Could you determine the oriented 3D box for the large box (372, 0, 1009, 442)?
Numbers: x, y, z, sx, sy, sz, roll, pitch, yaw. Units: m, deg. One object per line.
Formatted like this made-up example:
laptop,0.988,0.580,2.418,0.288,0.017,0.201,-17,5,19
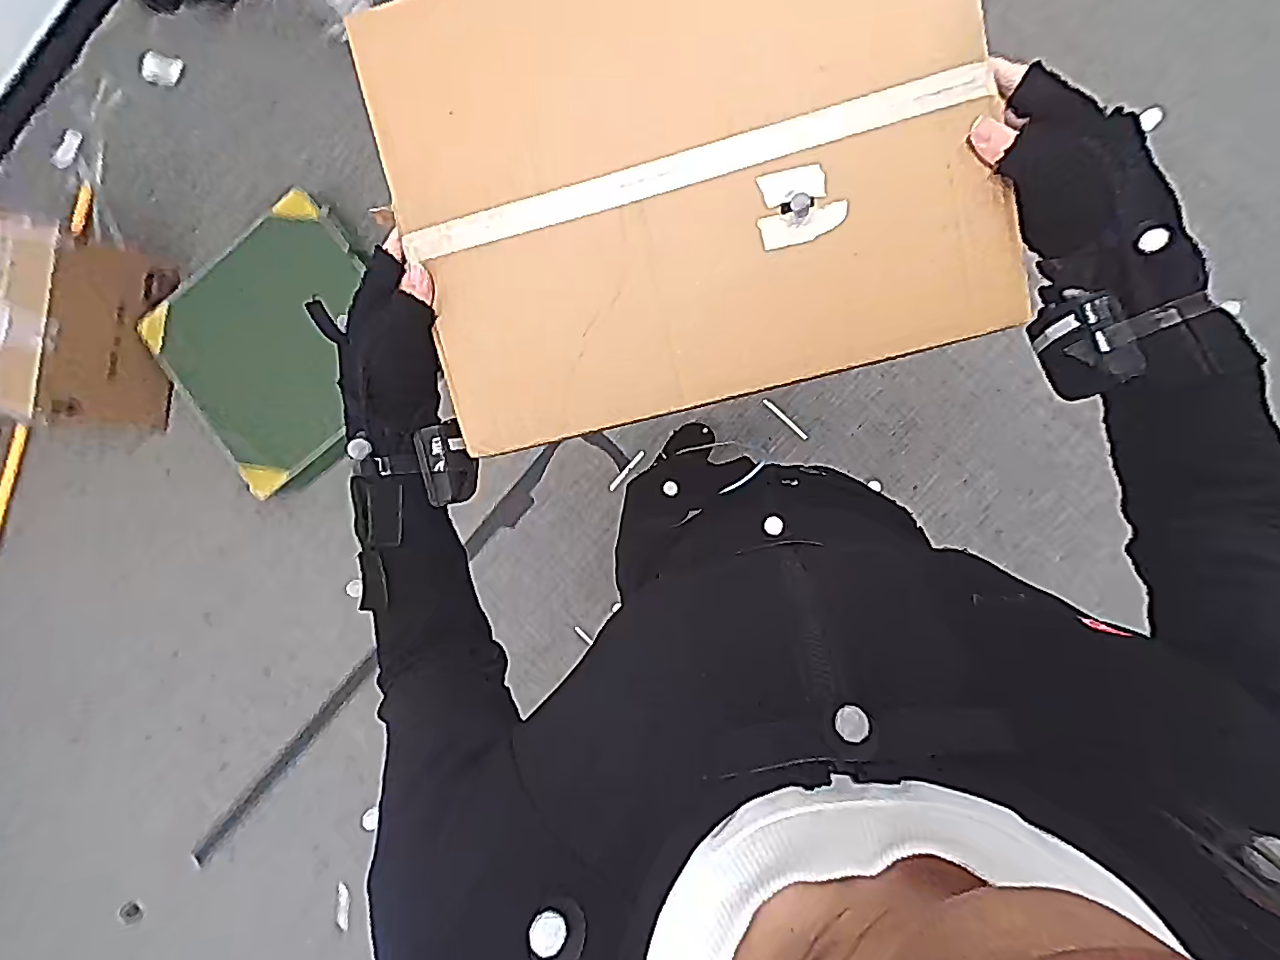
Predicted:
large box,0.042,-0.239,0.529,0.408,0.320,0.320,-13,97,4
